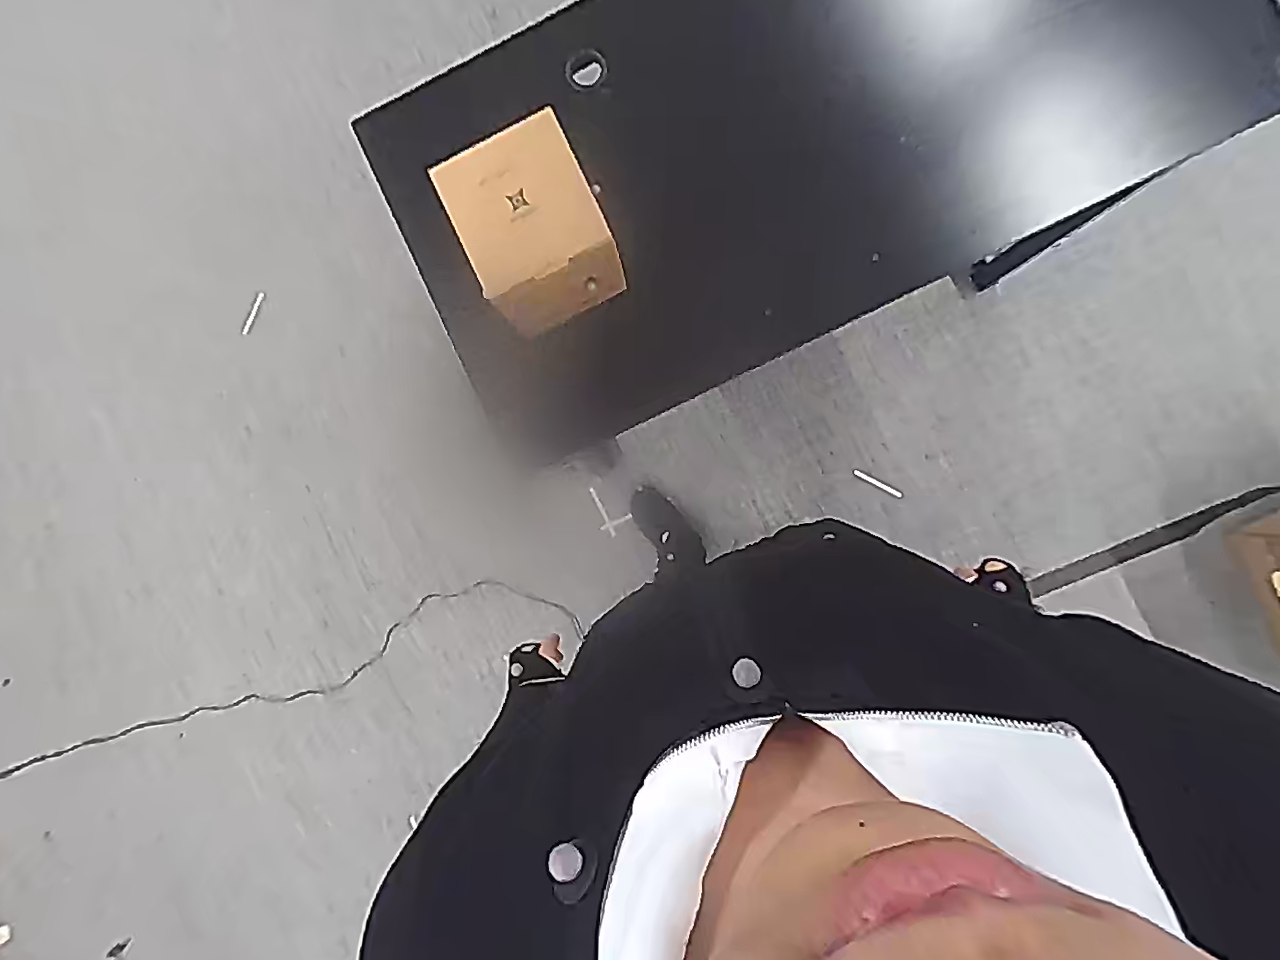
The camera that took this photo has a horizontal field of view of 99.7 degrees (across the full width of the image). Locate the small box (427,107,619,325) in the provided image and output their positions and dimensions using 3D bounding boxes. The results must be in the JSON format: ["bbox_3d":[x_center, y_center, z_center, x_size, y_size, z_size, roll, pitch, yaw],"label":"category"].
[{"bbox_3d":[-0.139,-0.324,0.711,0.168,0.176,0.179,-26,87,3],"label":"small box"}]
